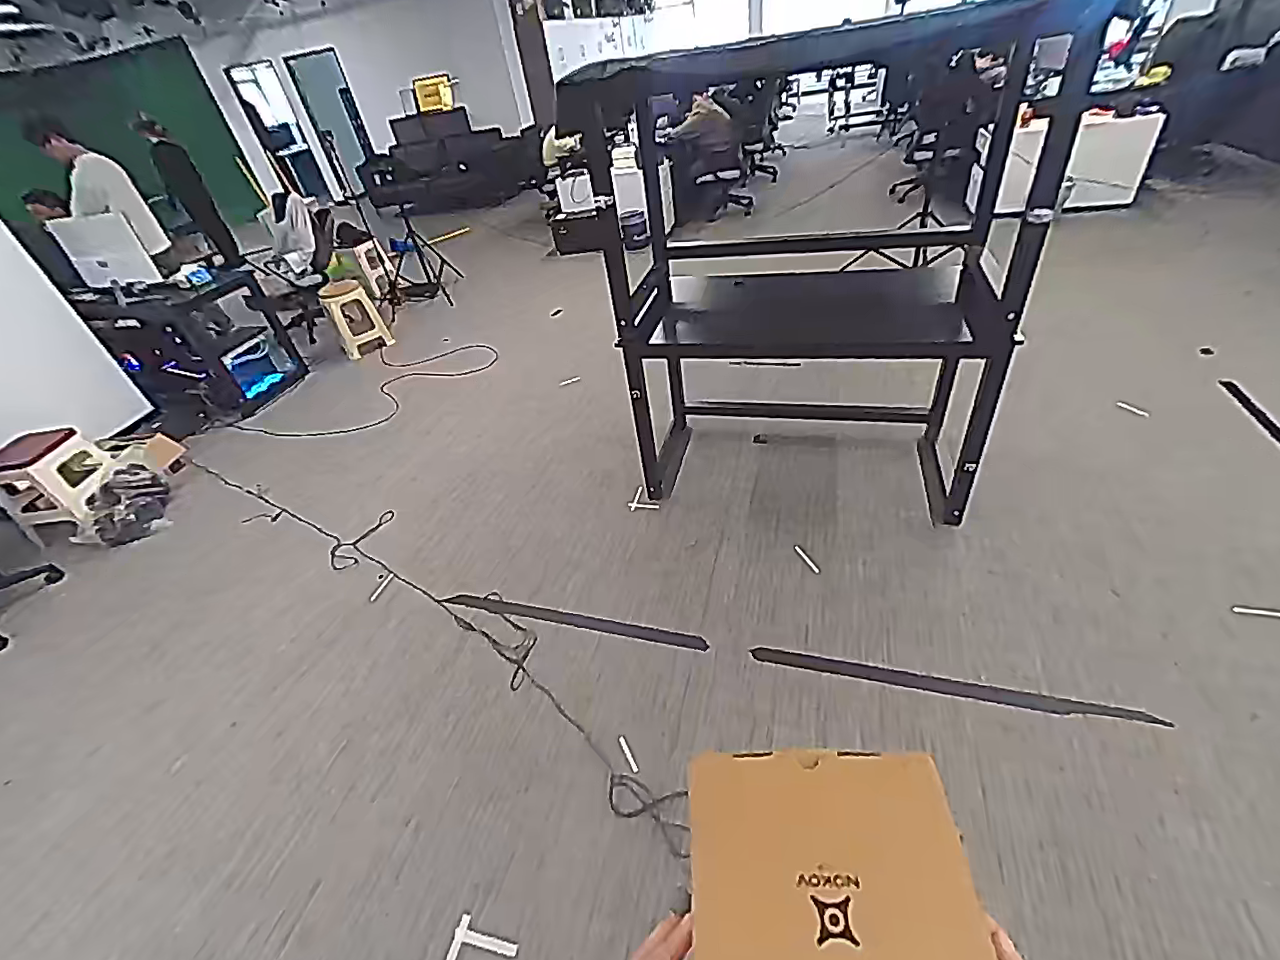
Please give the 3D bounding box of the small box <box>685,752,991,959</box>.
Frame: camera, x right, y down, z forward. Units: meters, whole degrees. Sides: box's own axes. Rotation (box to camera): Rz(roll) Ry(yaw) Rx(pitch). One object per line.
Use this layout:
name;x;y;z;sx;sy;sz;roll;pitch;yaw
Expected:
small box;0.120;0.308;0.366;0.168;0.176;0.179;-4;41;7
